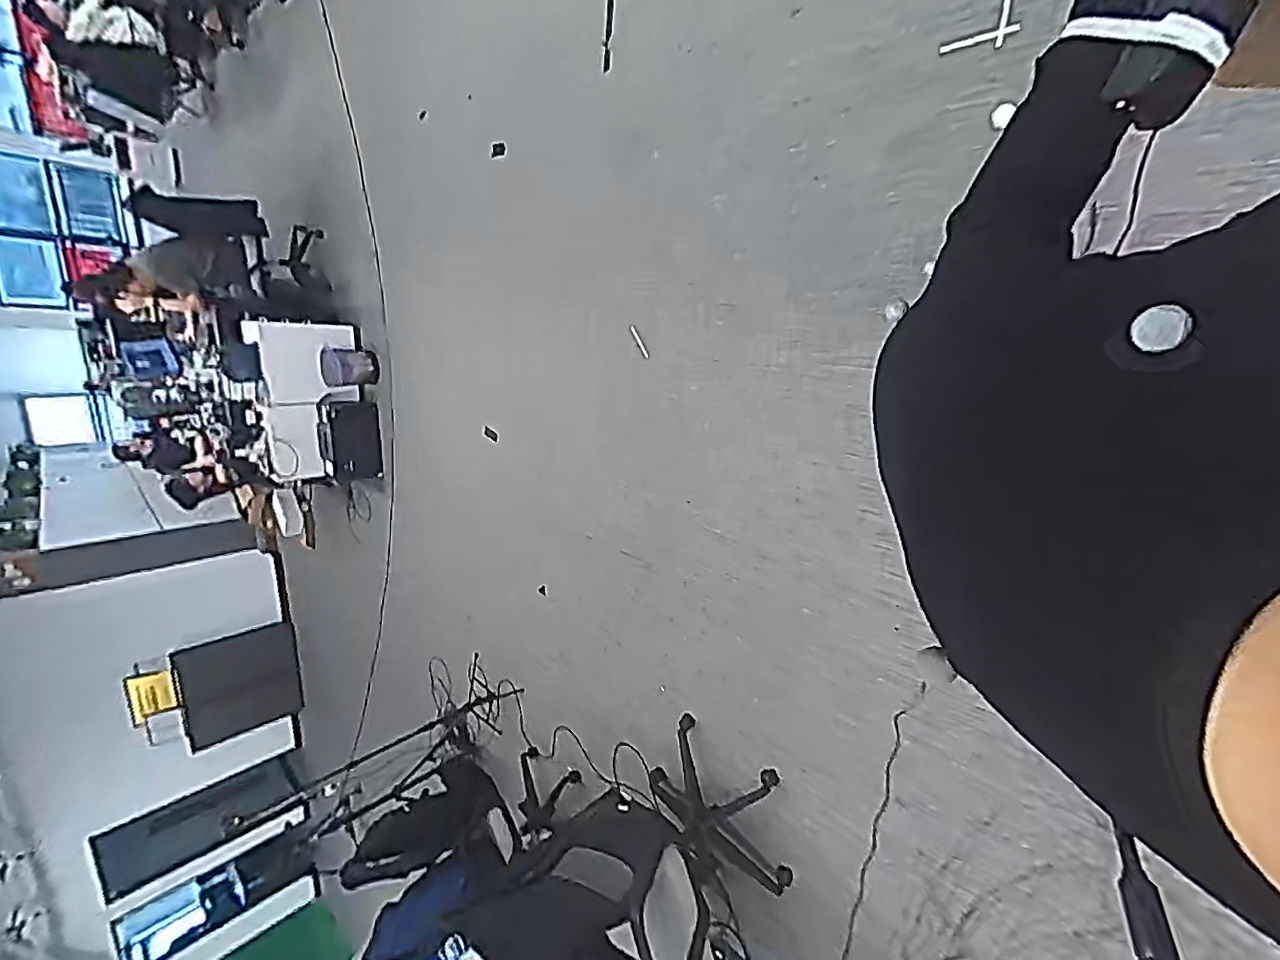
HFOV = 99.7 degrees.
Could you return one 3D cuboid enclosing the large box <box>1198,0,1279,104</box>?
[{"bbox_3d":[0.605,-0.384,0.247,0.408,0.320,0.320,29,126,33],"label":"large box"}]
